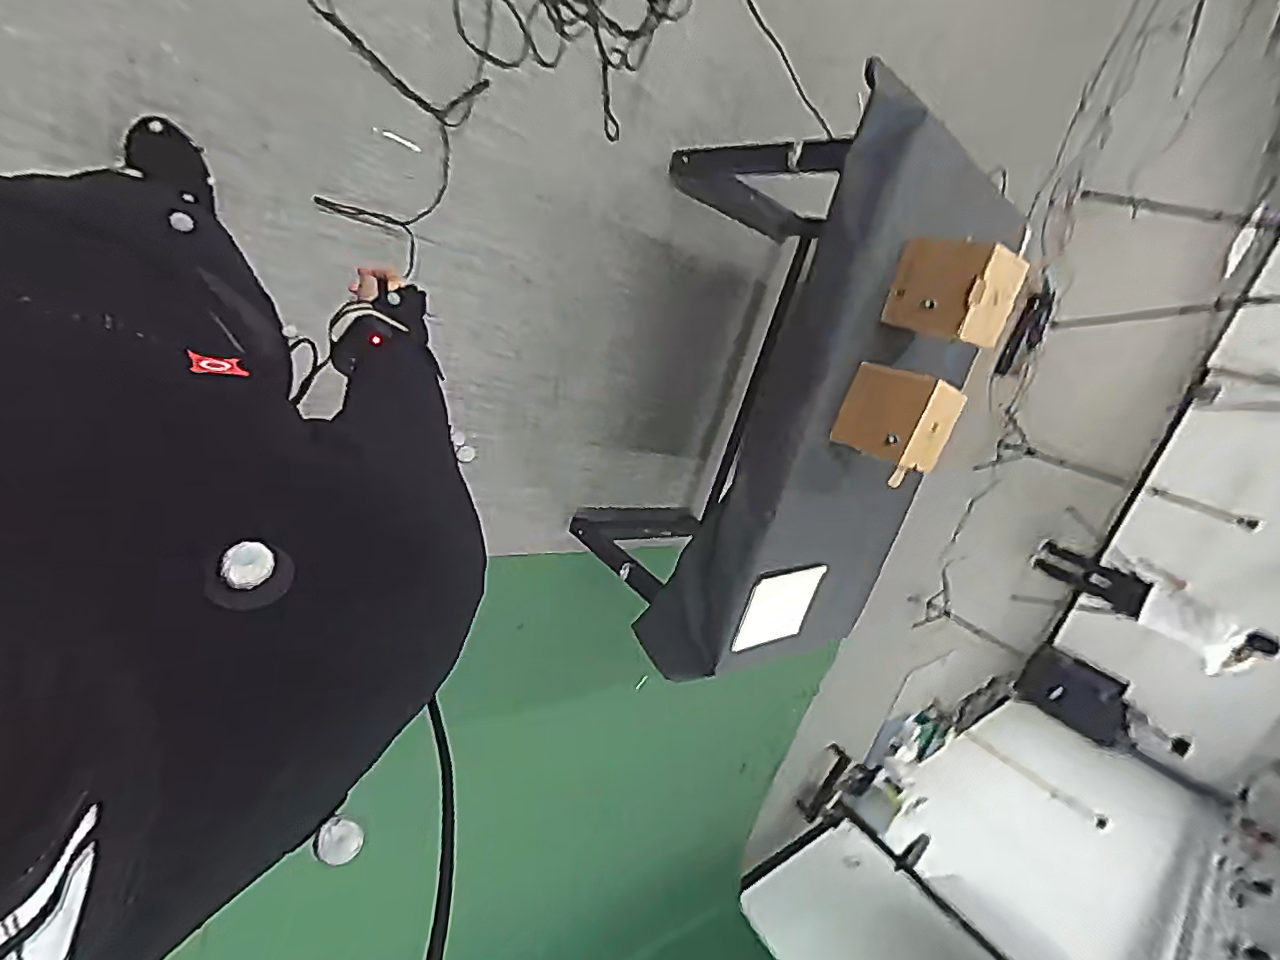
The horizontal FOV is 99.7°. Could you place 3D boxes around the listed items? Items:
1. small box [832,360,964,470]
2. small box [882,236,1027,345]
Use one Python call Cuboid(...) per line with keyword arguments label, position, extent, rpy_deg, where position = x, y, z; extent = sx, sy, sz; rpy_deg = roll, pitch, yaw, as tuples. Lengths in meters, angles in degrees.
Cuboid(label="small box", position=(0.536, -0.138, 1.138), extent=(0.168, 0.176, 0.179), rpy_deg=(7, 109, -42))
Cuboid(label="small box", position=(0.614, -0.376, 1.070), extent=(0.179, 0.176, 0.168), rpy_deg=(-4, 117, -39))
